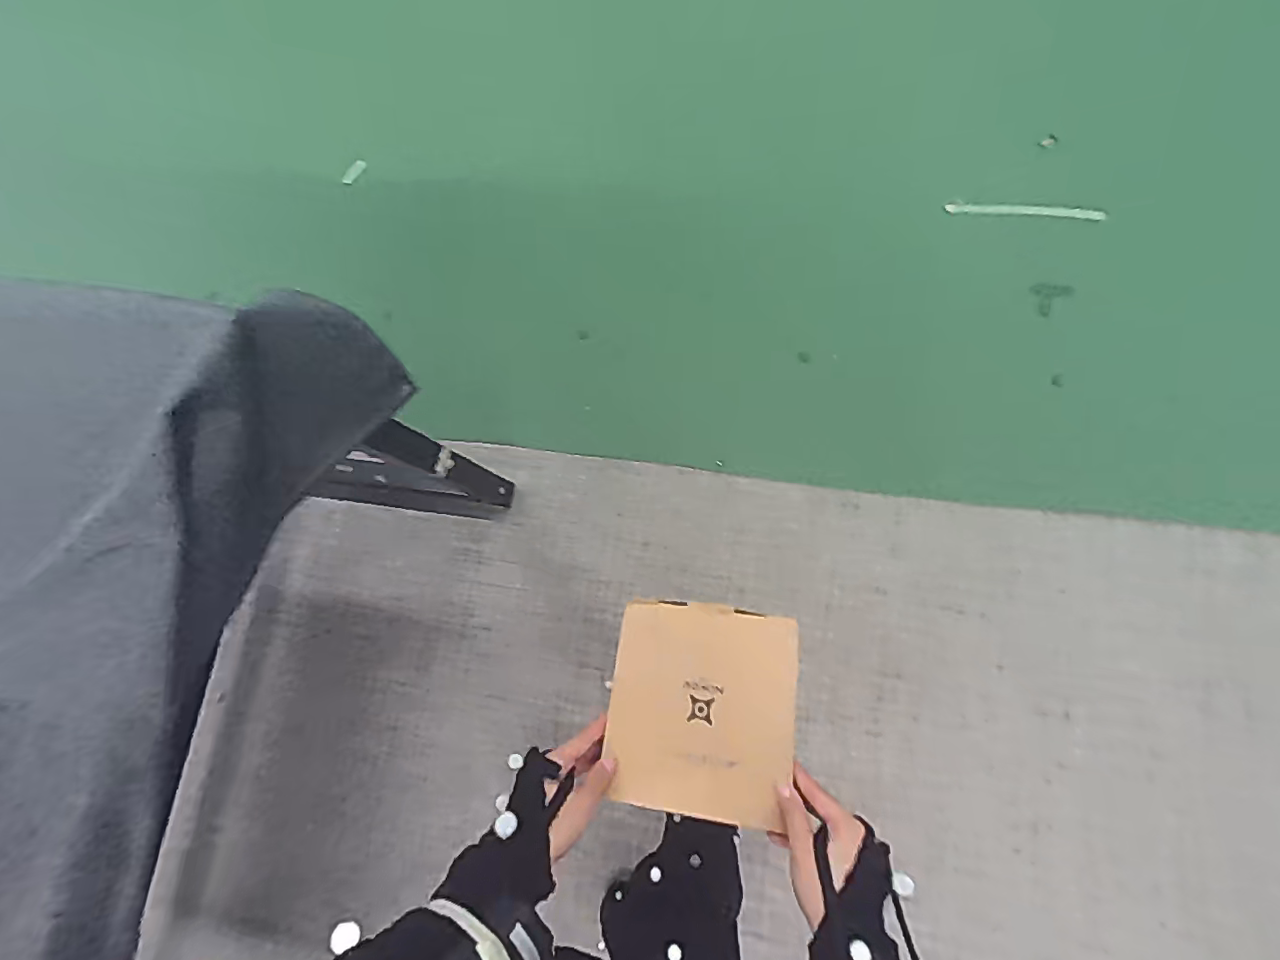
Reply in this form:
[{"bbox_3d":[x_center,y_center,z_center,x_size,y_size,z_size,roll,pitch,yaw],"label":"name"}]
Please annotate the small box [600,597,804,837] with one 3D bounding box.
[{"bbox_3d":[0.066,0.229,0.547,0.168,0.176,0.179,5,68,9],"label":"small box"}]
